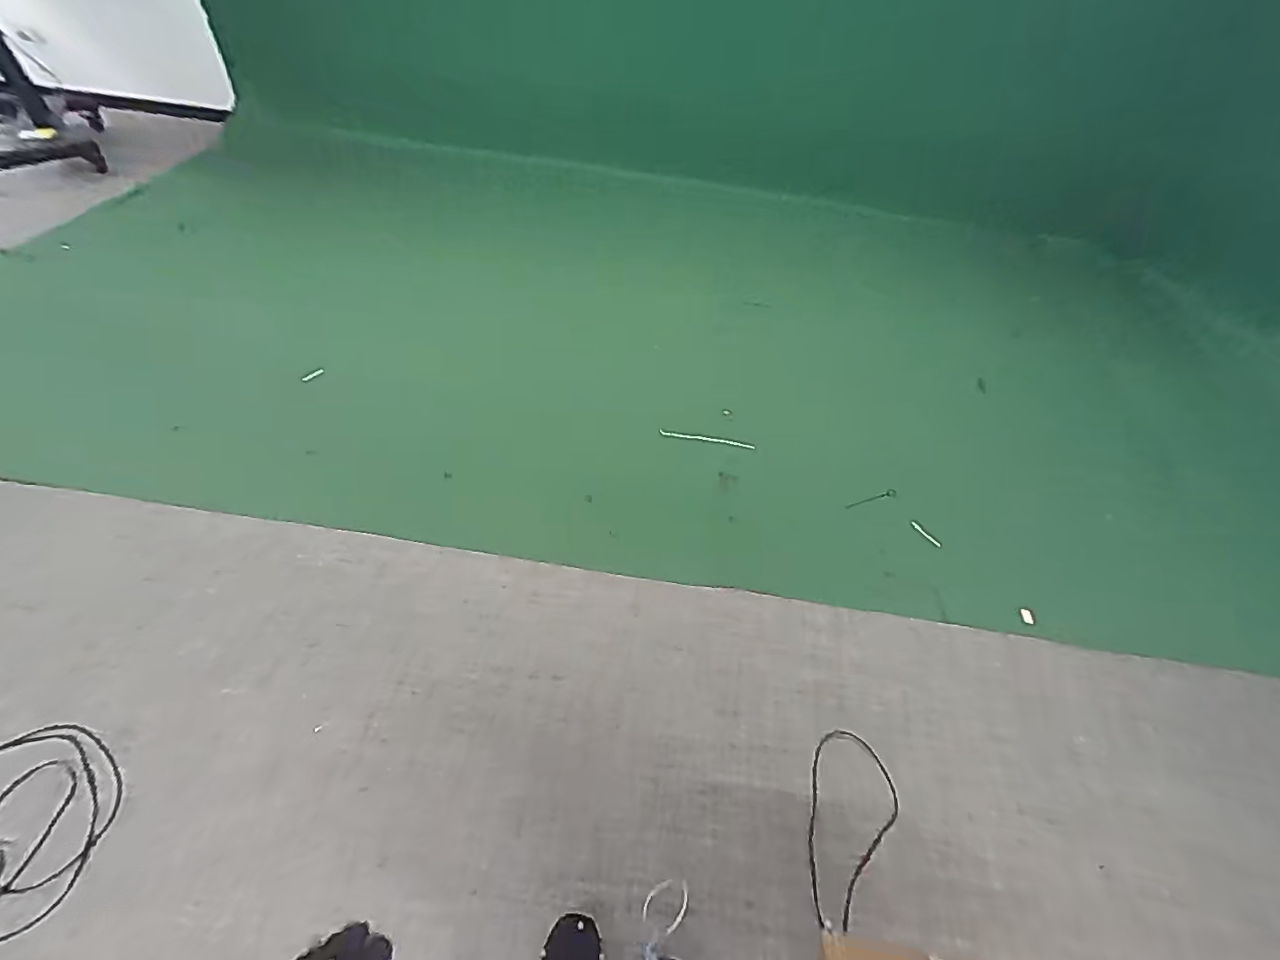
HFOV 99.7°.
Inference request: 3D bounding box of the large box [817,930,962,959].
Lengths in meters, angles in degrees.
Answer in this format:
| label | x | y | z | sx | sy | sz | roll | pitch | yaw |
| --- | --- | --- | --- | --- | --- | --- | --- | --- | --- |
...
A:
| label | x | y | z | sx | sy | sz | roll | pitch | yaw |
| --- | --- | --- | --- | --- | --- | --- | --- | --- | --- |
| large box | 0.369 | 0.815 | 0.572 | 0.320 | 0.408 | 0.320 | 9 | 86 | 9 |
